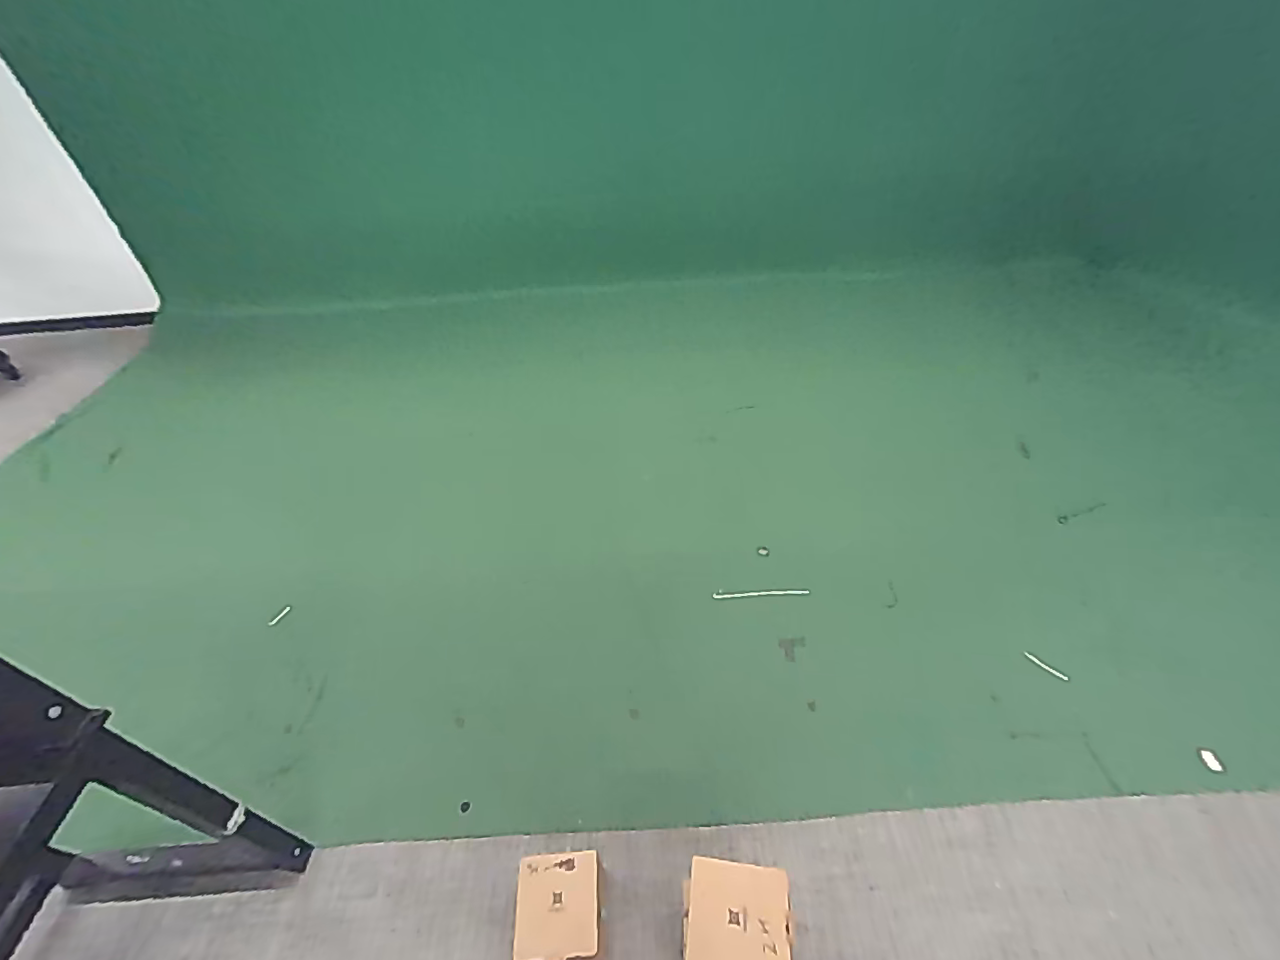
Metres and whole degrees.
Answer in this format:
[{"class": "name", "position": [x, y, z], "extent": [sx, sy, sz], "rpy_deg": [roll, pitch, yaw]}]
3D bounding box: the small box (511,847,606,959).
[{"class": "small box", "position": [-0.163, 0.899, 1.133], "extent": [0.168, 0.176, 0.179], "rpy_deg": [-5, 43, -1]}]

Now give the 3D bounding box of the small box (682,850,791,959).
[{"class": "small box", "position": [0.171, 0.796, 0.974], "extent": [0.179, 0.176, 0.168], "rpy_deg": [4, 45, 8]}]
